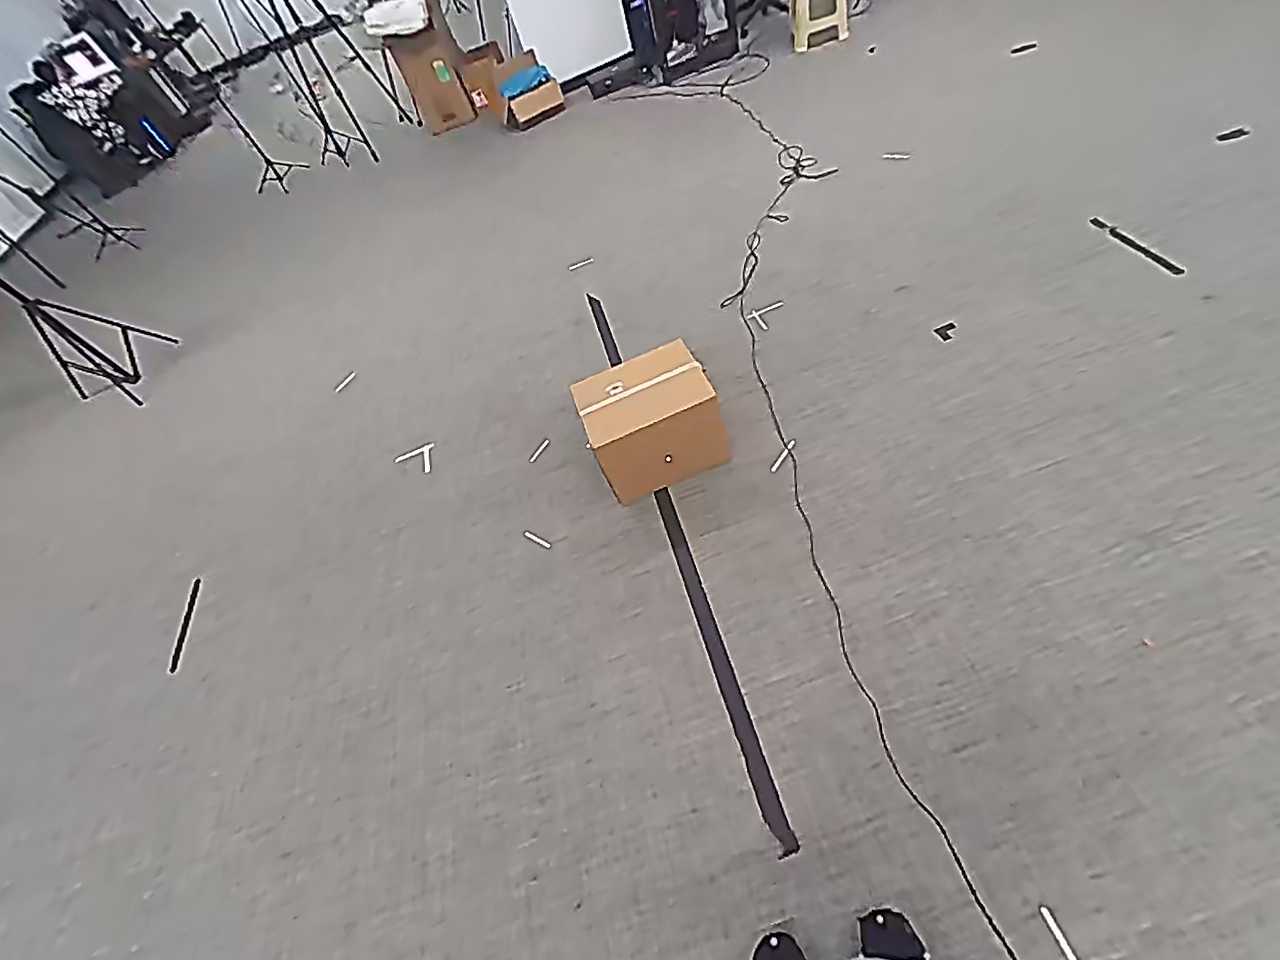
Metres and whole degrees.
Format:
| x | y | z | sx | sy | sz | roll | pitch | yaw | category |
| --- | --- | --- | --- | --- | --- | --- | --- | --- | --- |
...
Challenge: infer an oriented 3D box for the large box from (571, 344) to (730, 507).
| x | y | z | sx | sy | sz | roll | pitch | yaw | category |
| --- | --- | --- | --- | --- | --- | --- | --- | --- | --- |
| 0.039 | -0.176 | 1.794 | 0.408 | 0.320 | 0.320 | -24 | 49 | 2 | large box |
